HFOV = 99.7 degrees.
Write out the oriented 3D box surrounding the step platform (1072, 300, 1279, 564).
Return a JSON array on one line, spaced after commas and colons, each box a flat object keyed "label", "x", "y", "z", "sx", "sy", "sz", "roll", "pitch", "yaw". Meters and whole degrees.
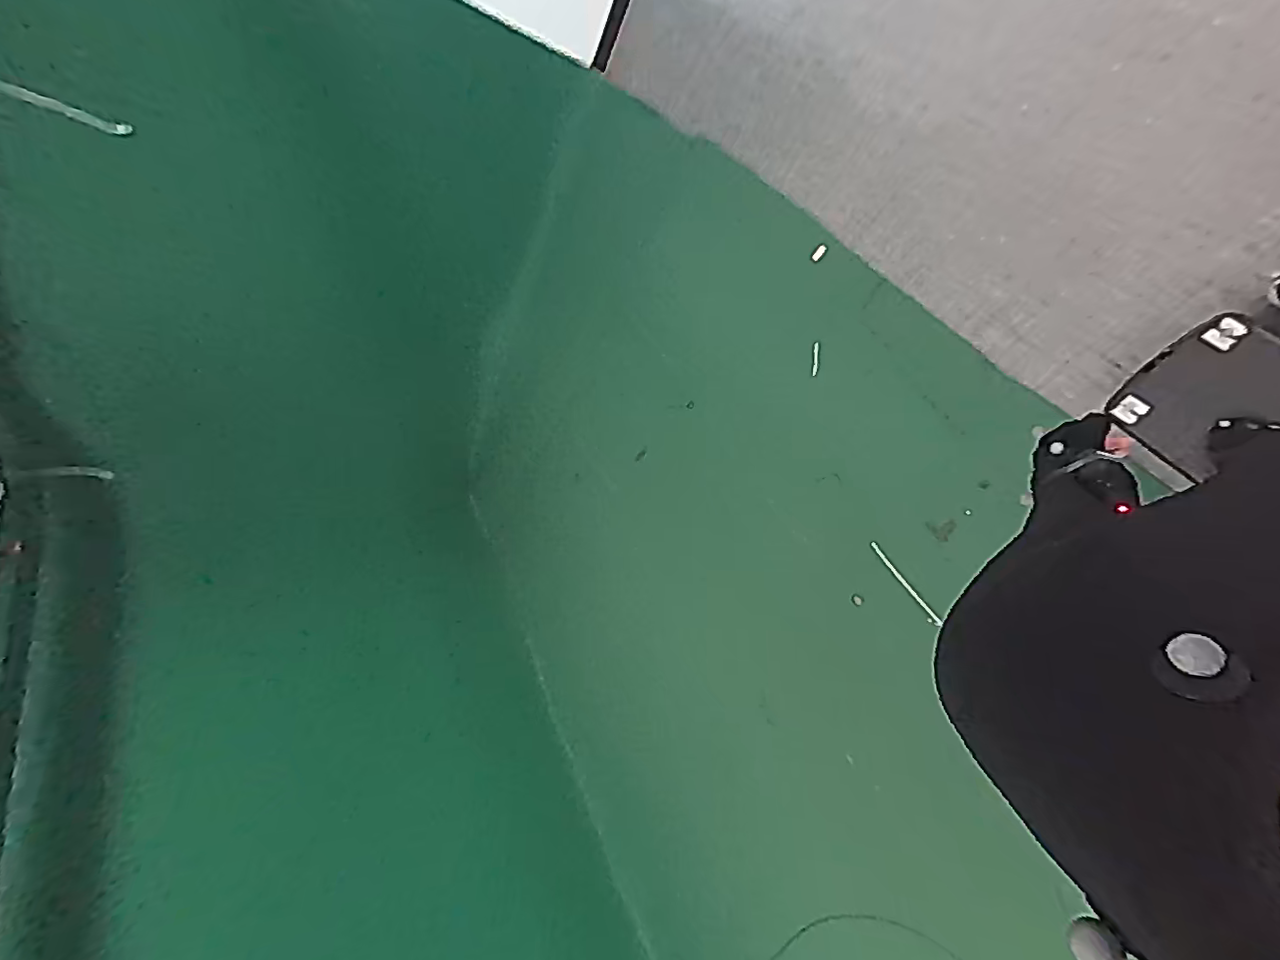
[{"label": "step platform", "x": 1.130, "y": 0.001, "z": 0.893, "sx": 0.684, "sy": 0.204, "sz": 0.286, "roll": 56, "pitch": 131, "yaw": 31}]
